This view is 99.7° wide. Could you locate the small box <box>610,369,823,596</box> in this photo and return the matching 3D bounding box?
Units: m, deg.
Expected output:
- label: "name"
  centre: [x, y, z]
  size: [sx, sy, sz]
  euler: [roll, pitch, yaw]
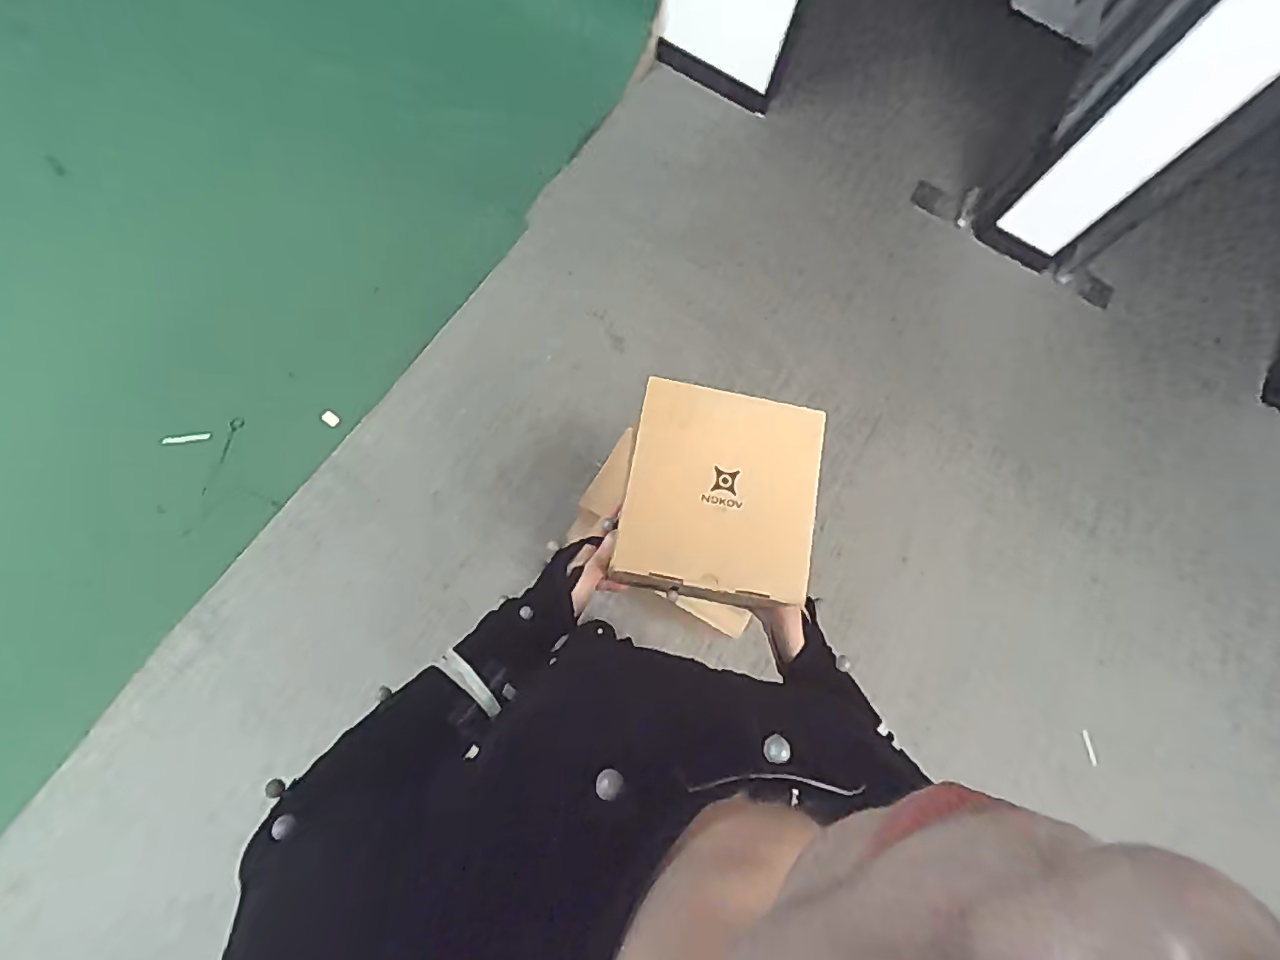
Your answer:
- label: "small box"
  centre: [0.066, 0.015, 0.545]
  size: [0.168, 0.176, 0.179]
  euler: [11, 77, -3]
